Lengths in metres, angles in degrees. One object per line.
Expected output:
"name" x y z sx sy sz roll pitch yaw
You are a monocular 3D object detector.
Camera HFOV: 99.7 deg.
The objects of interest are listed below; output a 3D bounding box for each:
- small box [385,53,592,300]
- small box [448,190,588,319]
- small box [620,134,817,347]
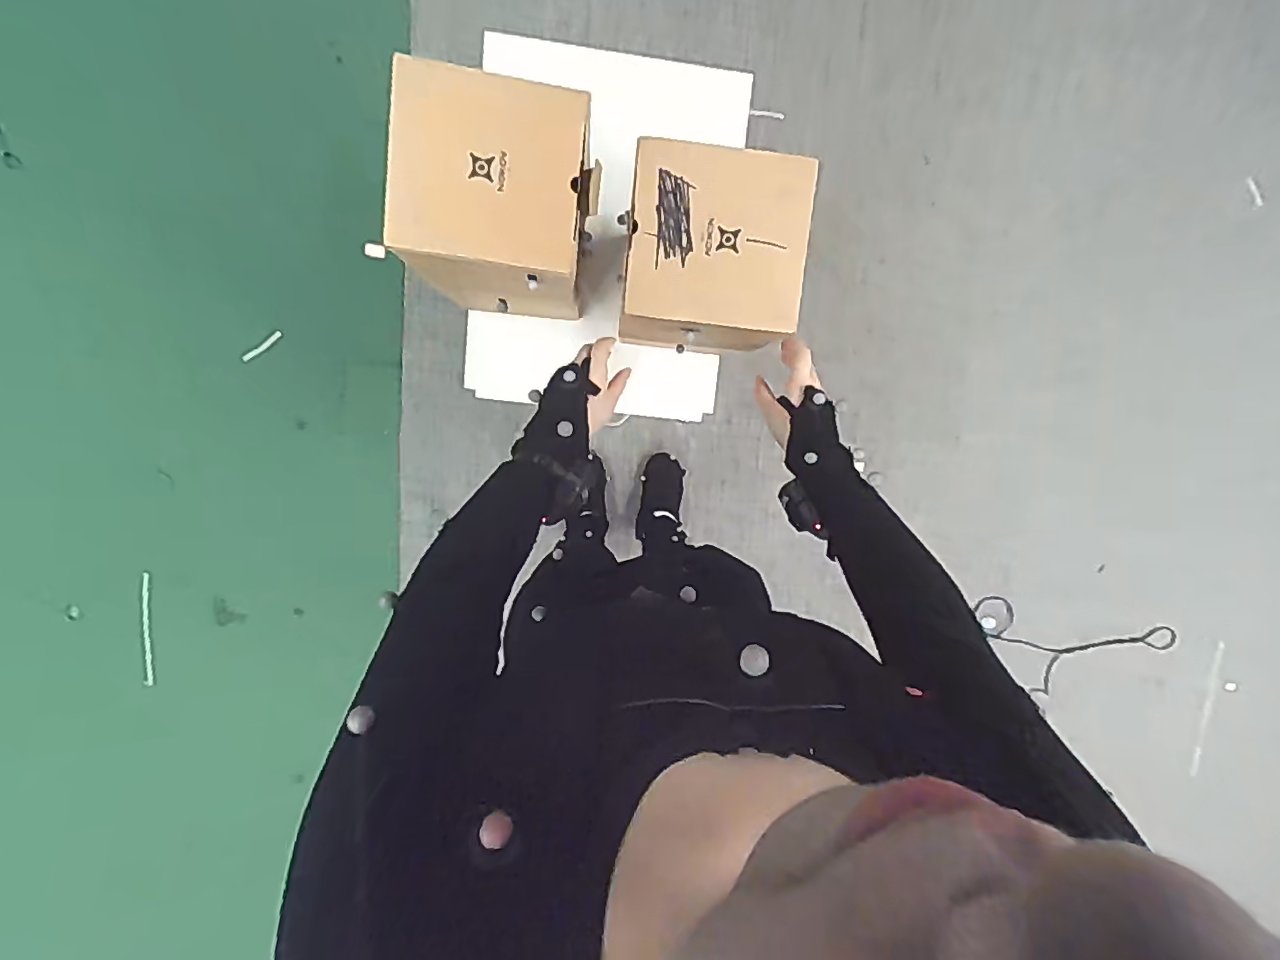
"small box" -0.148 -0.300 0.577 0.179 0.176 0.168 6 96 -8
"small box" -0.164 -0.324 0.740 0.179 0.176 0.168 4 97 -7
"small box" 0.071 -0.247 0.602 0.179 0.176 0.168 5 97 -5
